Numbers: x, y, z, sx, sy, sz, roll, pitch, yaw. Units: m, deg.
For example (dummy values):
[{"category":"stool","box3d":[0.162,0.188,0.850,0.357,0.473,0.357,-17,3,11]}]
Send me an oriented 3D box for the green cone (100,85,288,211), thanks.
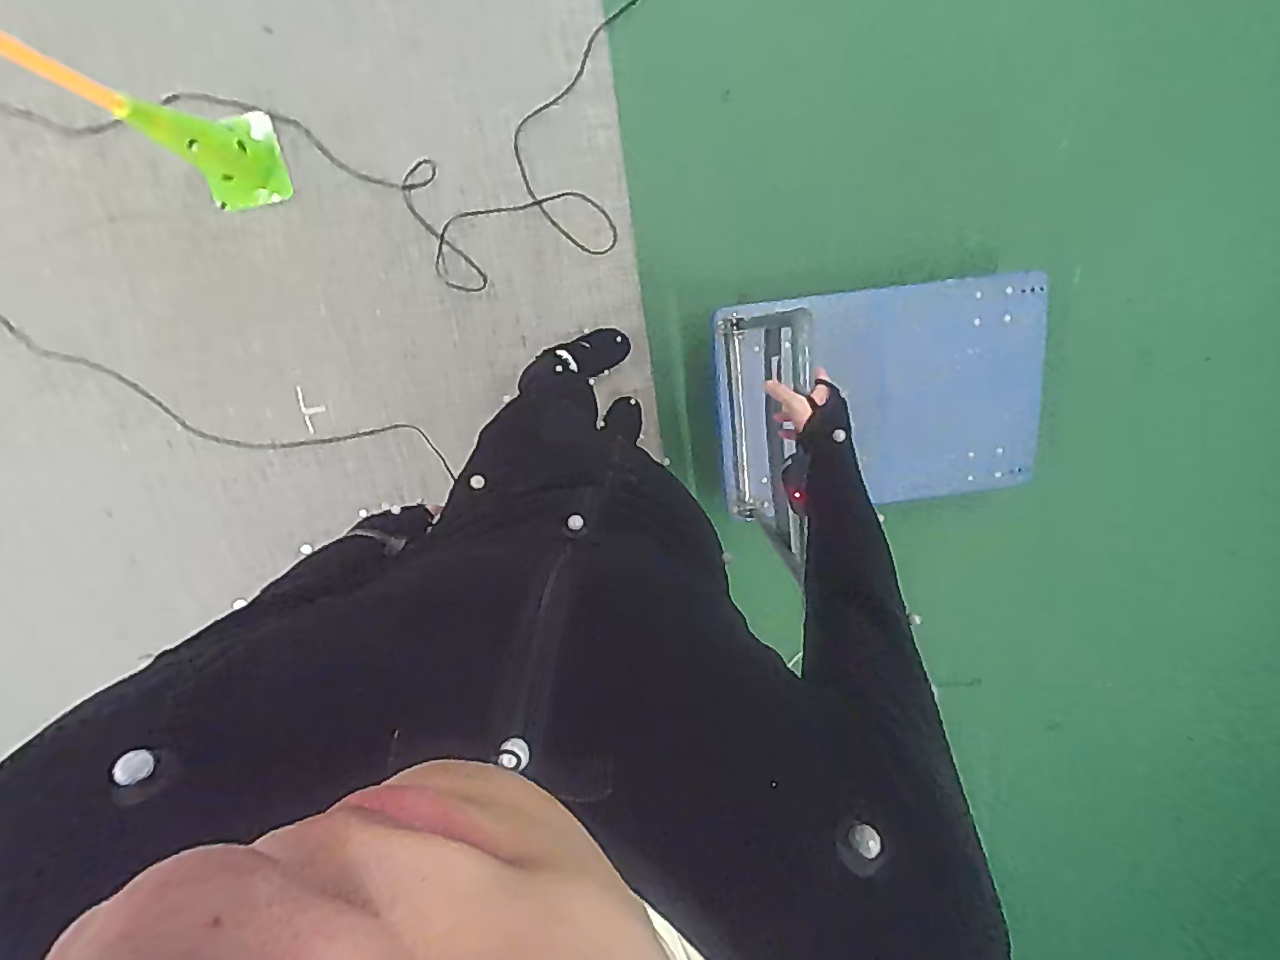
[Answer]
[{"category":"green cone","box3d":[-0.998,-0.758,1.190,0.200,0.368,0.202,-13,104,0]}]
